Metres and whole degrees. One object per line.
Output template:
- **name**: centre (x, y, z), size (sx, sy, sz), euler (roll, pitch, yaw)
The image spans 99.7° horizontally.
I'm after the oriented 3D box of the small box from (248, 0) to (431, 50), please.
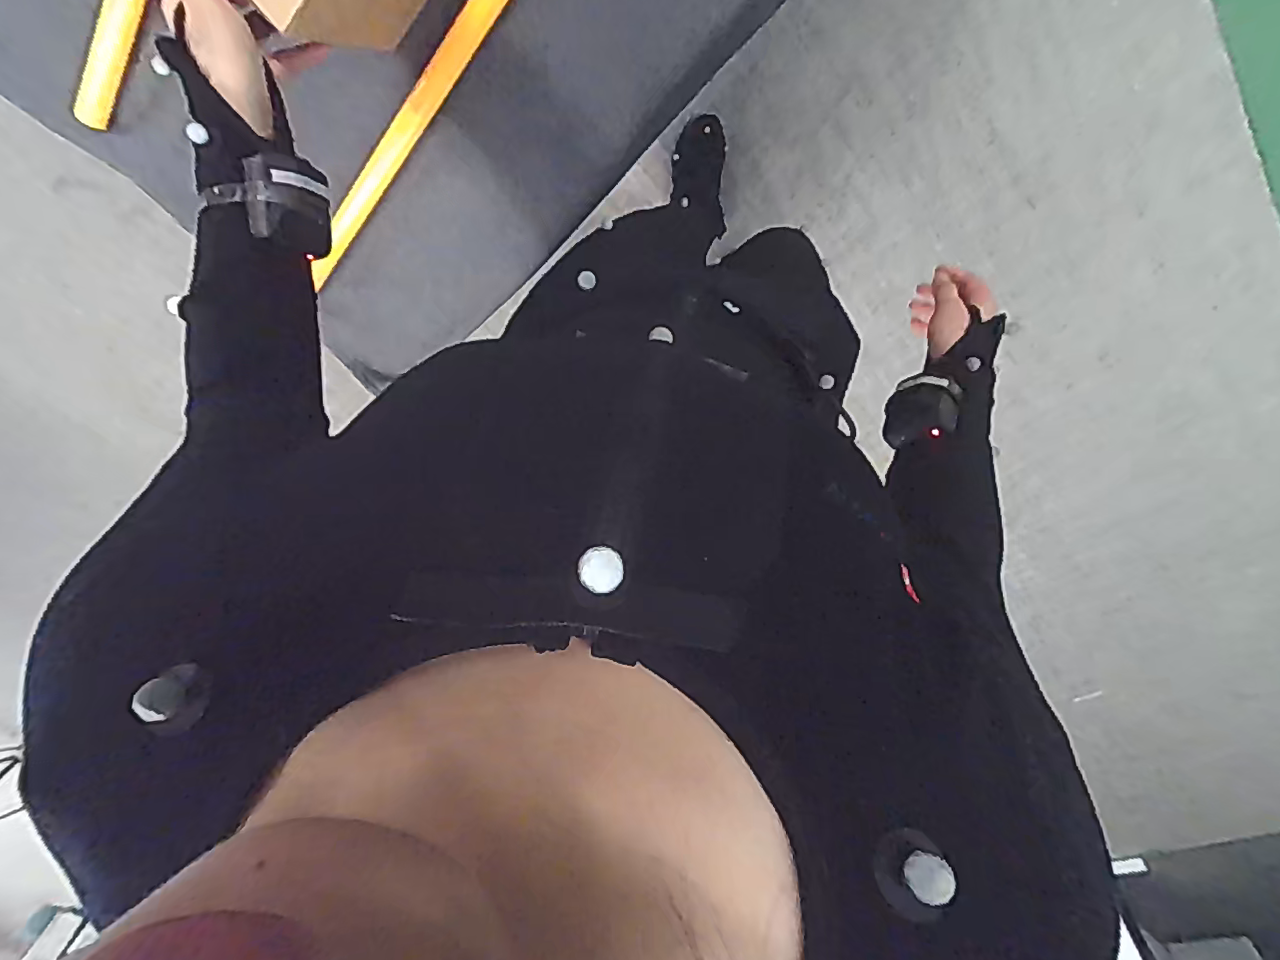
- **small box**: centre (-0.234, -0.458, 0.393), size (0.179, 0.176, 0.168), euler (-33, 116, 26)
